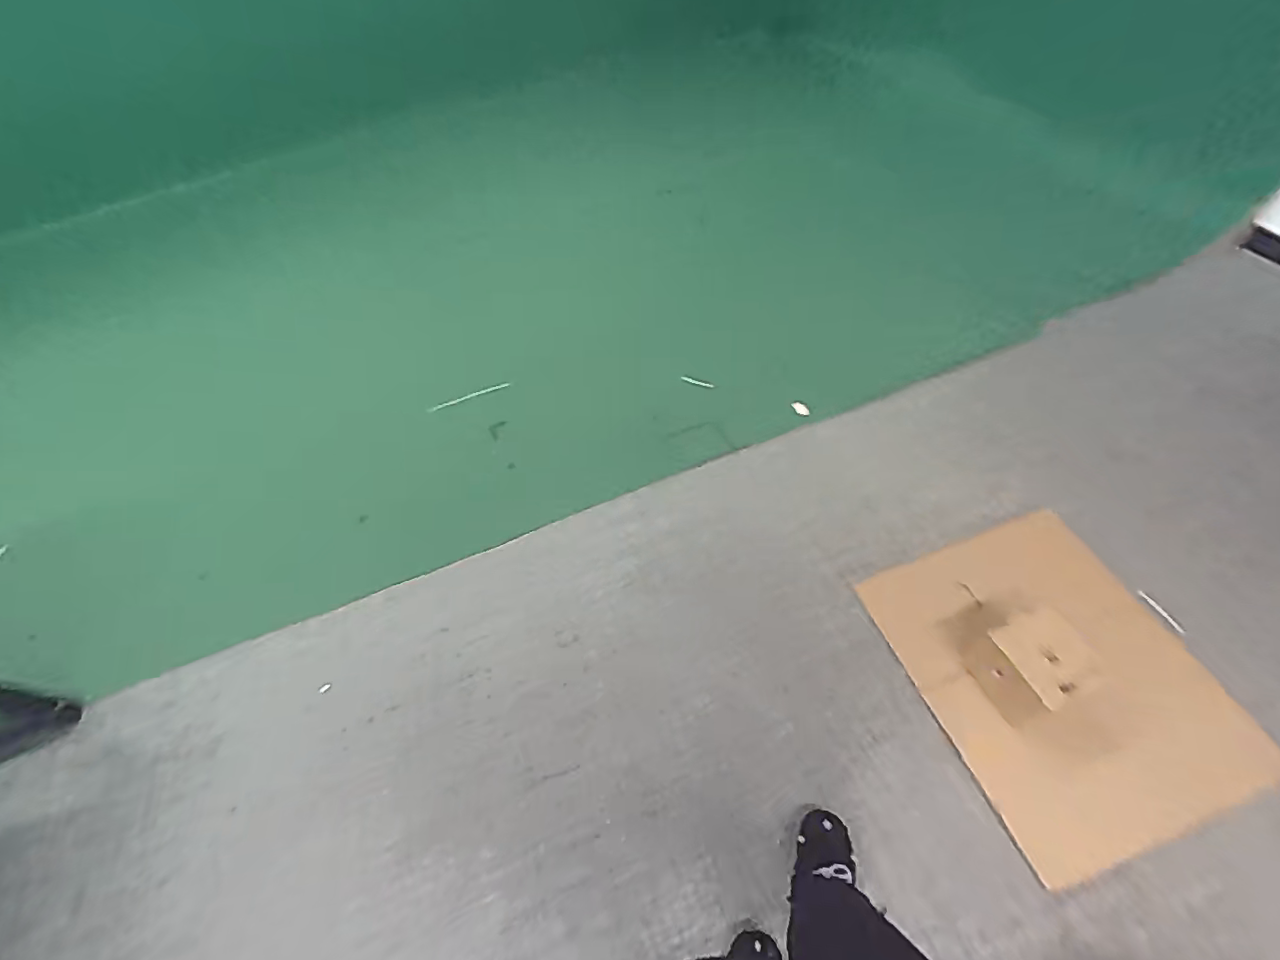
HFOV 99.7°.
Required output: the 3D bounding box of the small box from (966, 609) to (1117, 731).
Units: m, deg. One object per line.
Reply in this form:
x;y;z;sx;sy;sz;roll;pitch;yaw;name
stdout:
0.868;0.421;1.192;0.168;0.176;0.179;-22;54;-10;small box
